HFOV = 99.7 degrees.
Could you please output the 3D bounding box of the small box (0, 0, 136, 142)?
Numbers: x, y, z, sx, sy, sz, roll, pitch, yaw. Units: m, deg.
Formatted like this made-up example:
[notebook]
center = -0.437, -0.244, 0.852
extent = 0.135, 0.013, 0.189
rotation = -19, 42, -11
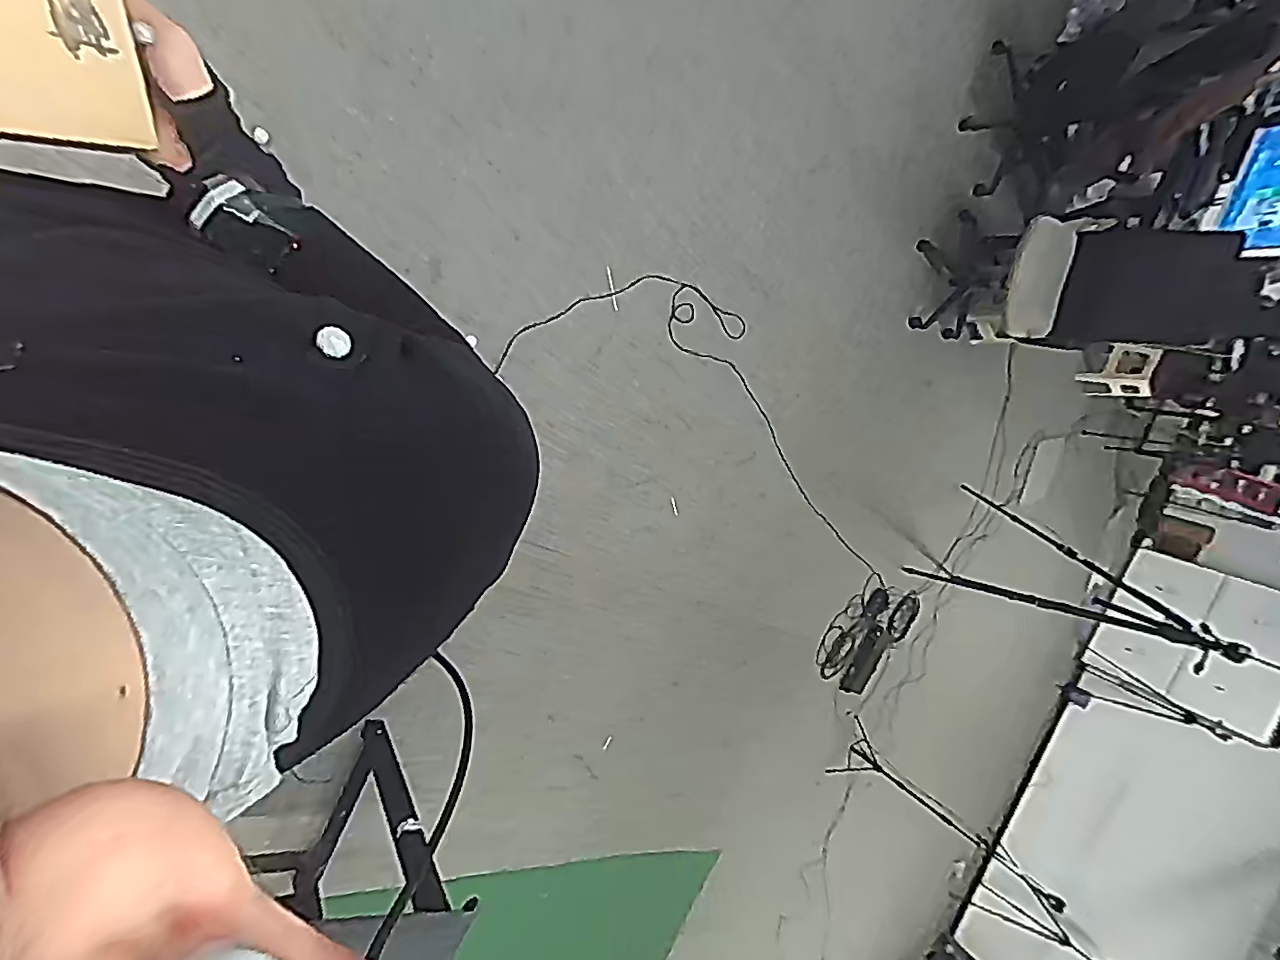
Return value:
[small box]
center = -0.418, -0.291, 0.291
extent = 0.179, 0.176, 0.168
rotation = -19, 126, -42
